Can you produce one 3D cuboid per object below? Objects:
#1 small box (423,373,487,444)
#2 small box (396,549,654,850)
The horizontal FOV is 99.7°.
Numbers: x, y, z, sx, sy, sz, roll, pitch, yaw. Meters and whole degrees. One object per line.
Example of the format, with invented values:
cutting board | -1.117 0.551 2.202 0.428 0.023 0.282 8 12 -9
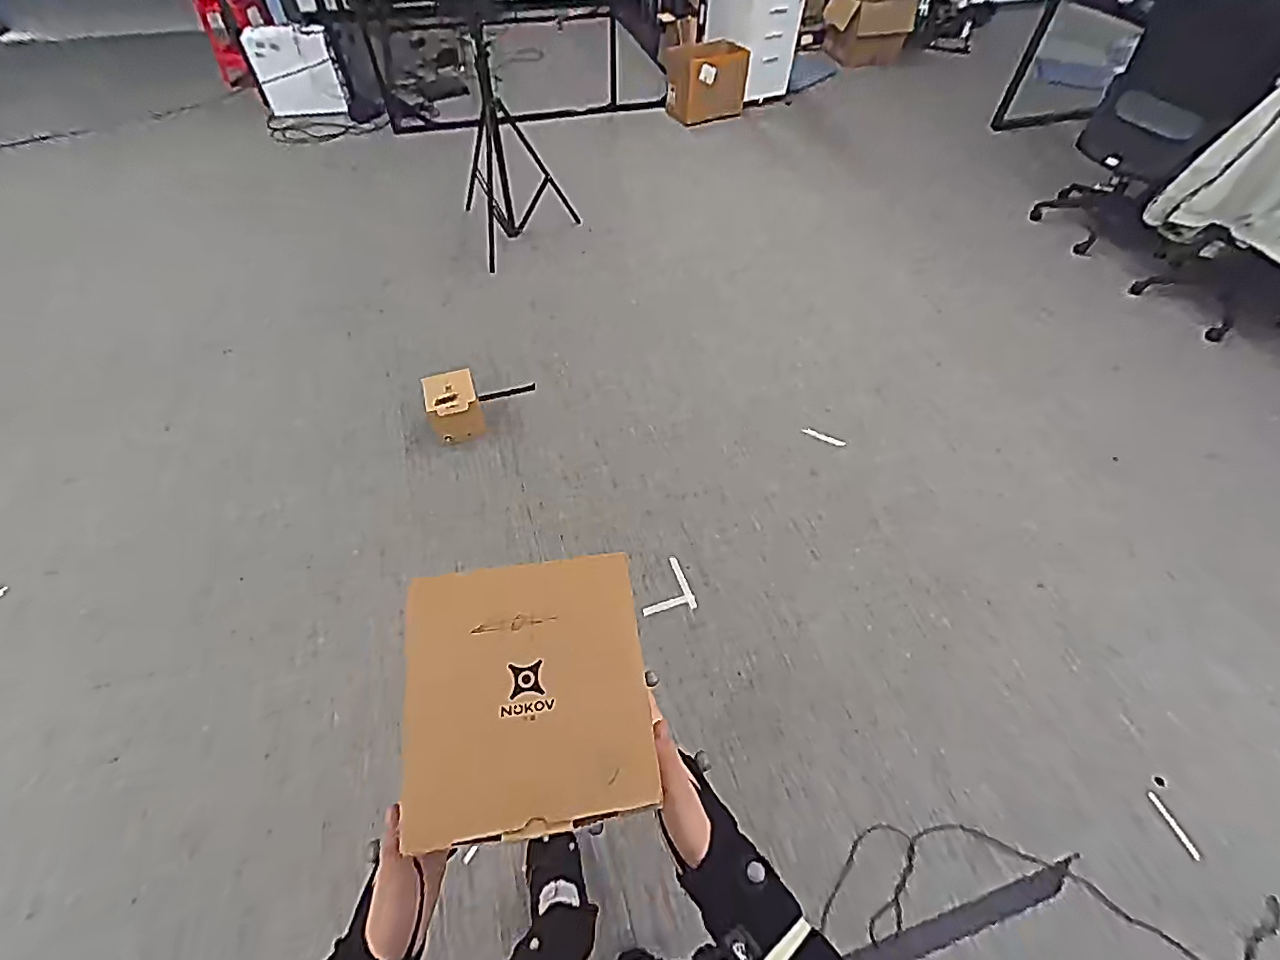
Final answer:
small box | -0.648 -0.244 1.903 0.168 0.176 0.179 -16 55 -13
small box | -0.089 0.175 0.446 0.168 0.176 0.179 -7 63 -9
